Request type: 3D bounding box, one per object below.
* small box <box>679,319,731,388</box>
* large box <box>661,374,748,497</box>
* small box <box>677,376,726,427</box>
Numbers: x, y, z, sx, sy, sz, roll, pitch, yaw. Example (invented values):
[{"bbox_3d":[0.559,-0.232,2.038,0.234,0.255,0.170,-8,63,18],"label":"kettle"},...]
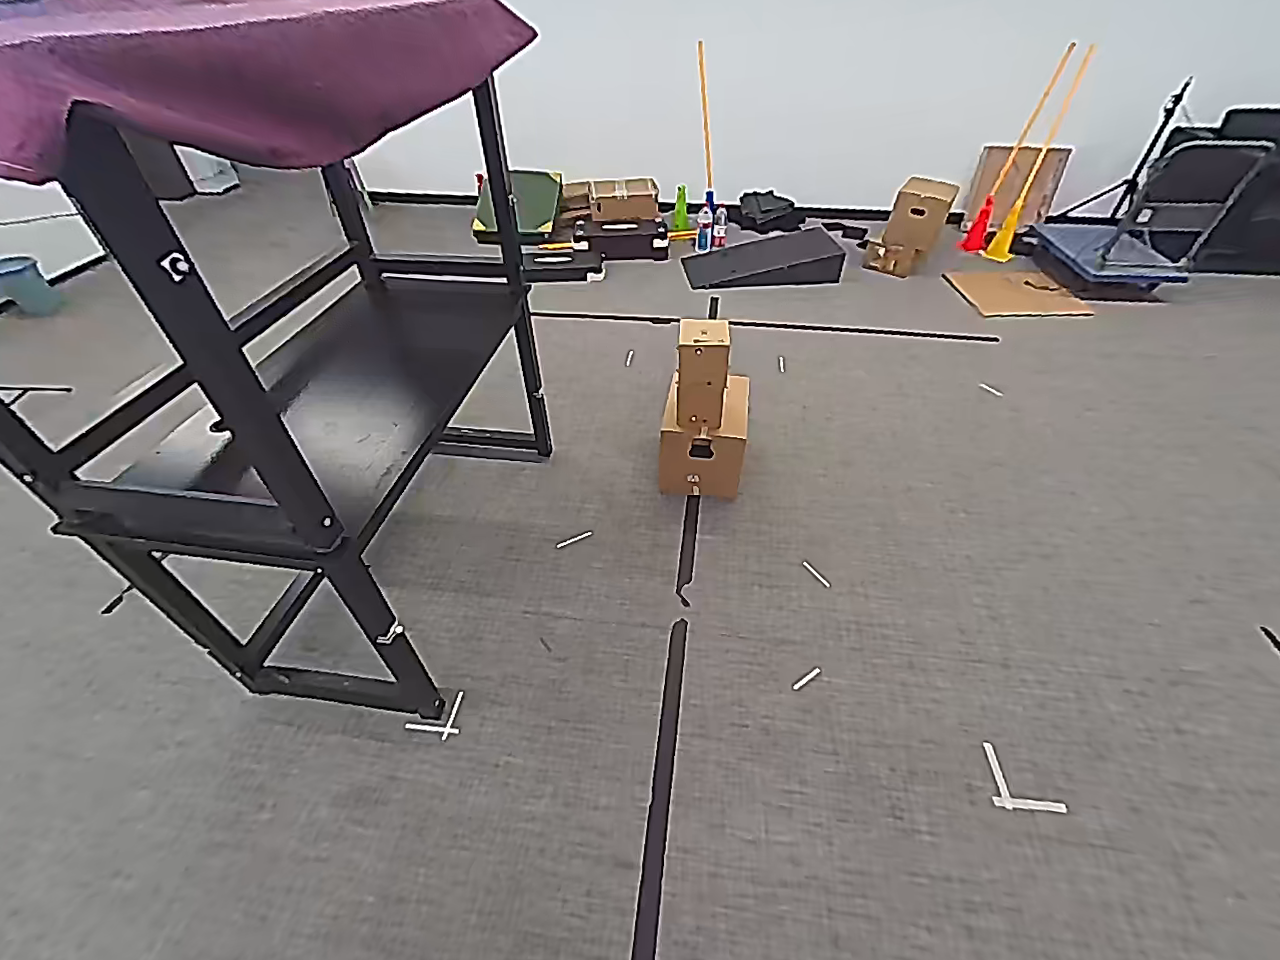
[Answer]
[{"bbox_3d":[0.221,-0.434,1.846,0.168,0.176,0.179,2,42,6],"label":"small box"},{"bbox_3d":[0.259,-0.182,2.173,0.320,0.320,0.408,7,43,6],"label":"large box"},{"bbox_3d":[0.224,-0.316,1.959,0.168,0.176,0.179,5,44,7],"label":"small box"}]
